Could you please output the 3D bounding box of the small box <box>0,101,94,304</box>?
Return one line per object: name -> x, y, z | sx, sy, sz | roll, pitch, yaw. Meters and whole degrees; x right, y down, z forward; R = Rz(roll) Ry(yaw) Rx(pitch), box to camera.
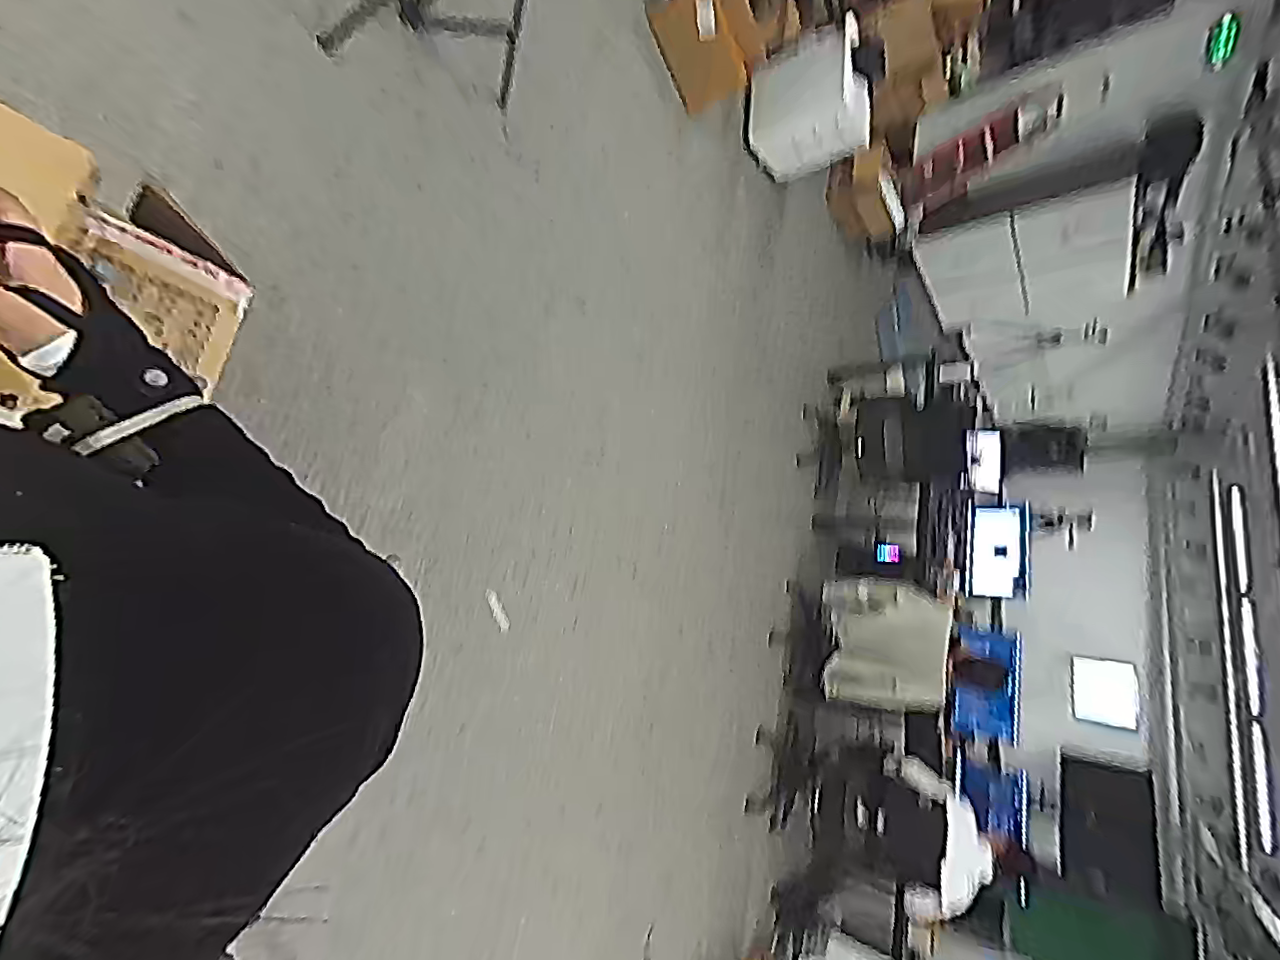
small box -> -0.767, -0.327, 0.608 | 0.168, 0.176, 0.179 | 25, 72, -45
